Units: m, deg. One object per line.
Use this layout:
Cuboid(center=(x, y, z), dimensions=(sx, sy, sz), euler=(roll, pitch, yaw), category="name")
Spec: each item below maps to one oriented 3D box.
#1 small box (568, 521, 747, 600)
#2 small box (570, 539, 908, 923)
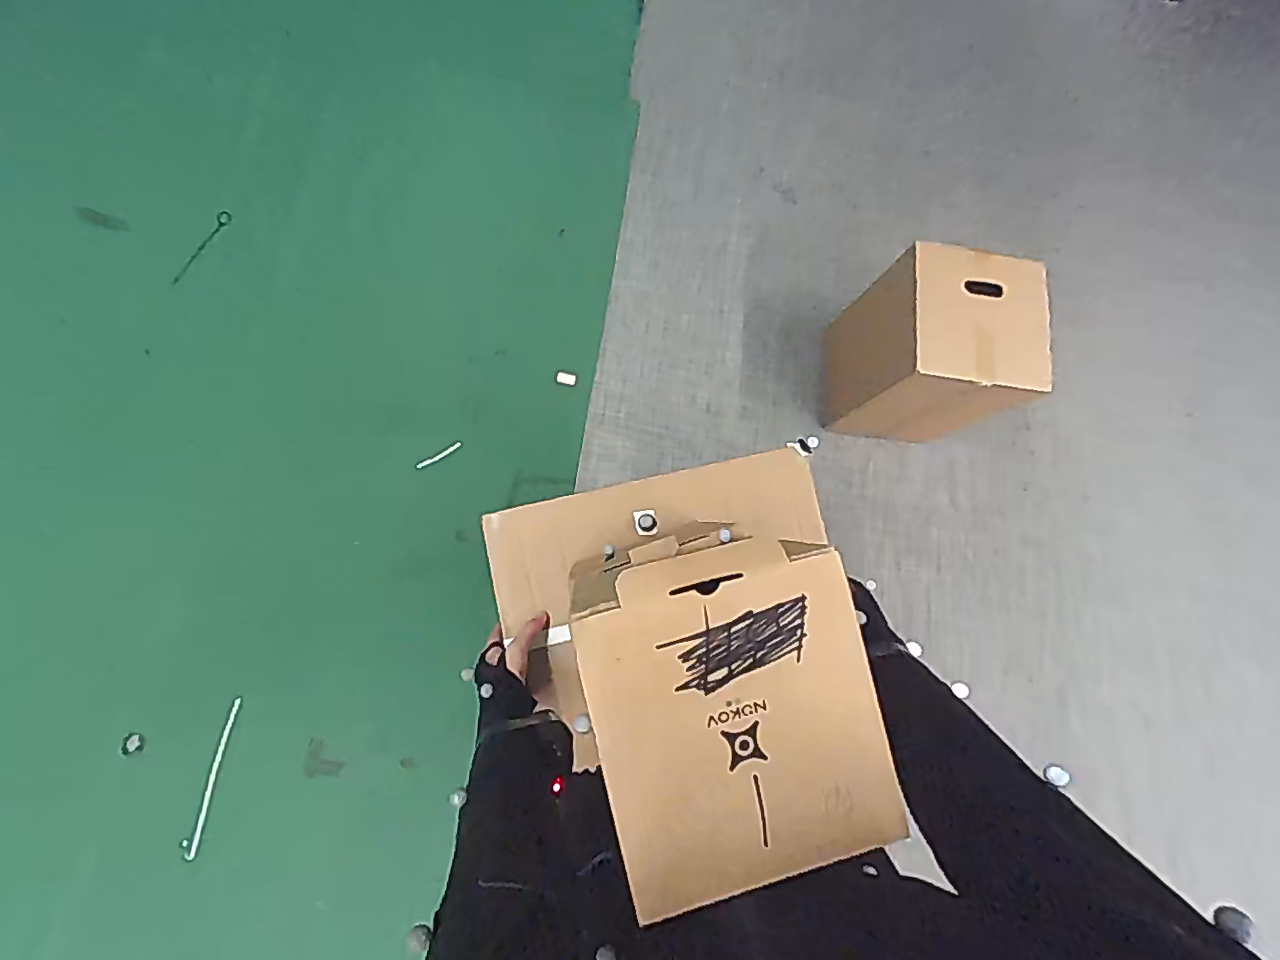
Cuboid(center=(0.030, 0.148, 0.546), dimensions=(0.168, 0.176, 0.179), euler=(-18, 88, -7), category="small box")
Cuboid(center=(0.048, 0.143, 0.383), dimensions=(0.168, 0.176, 0.179), euler=(-13, 88, -6), category="small box")
